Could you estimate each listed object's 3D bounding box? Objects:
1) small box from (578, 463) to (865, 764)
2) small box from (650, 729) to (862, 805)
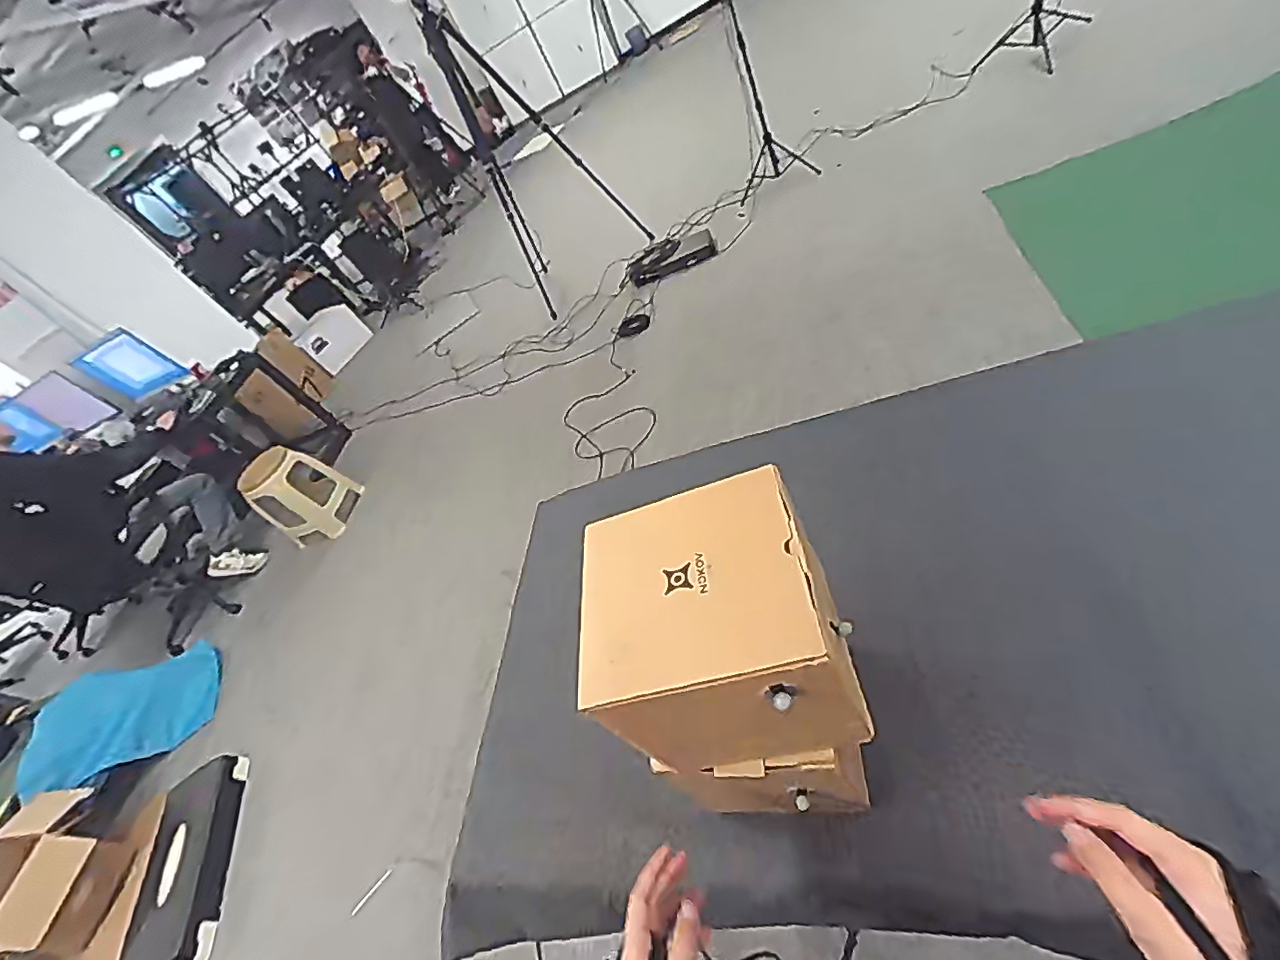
[{"bbox_3d":[0.068,0.120,0.455,0.179,0.176,0.168,-19,44,16],"label":"small box"},{"bbox_3d":[0.123,0.227,0.565,0.168,0.176,0.179,-14,45,21],"label":"small box"}]
